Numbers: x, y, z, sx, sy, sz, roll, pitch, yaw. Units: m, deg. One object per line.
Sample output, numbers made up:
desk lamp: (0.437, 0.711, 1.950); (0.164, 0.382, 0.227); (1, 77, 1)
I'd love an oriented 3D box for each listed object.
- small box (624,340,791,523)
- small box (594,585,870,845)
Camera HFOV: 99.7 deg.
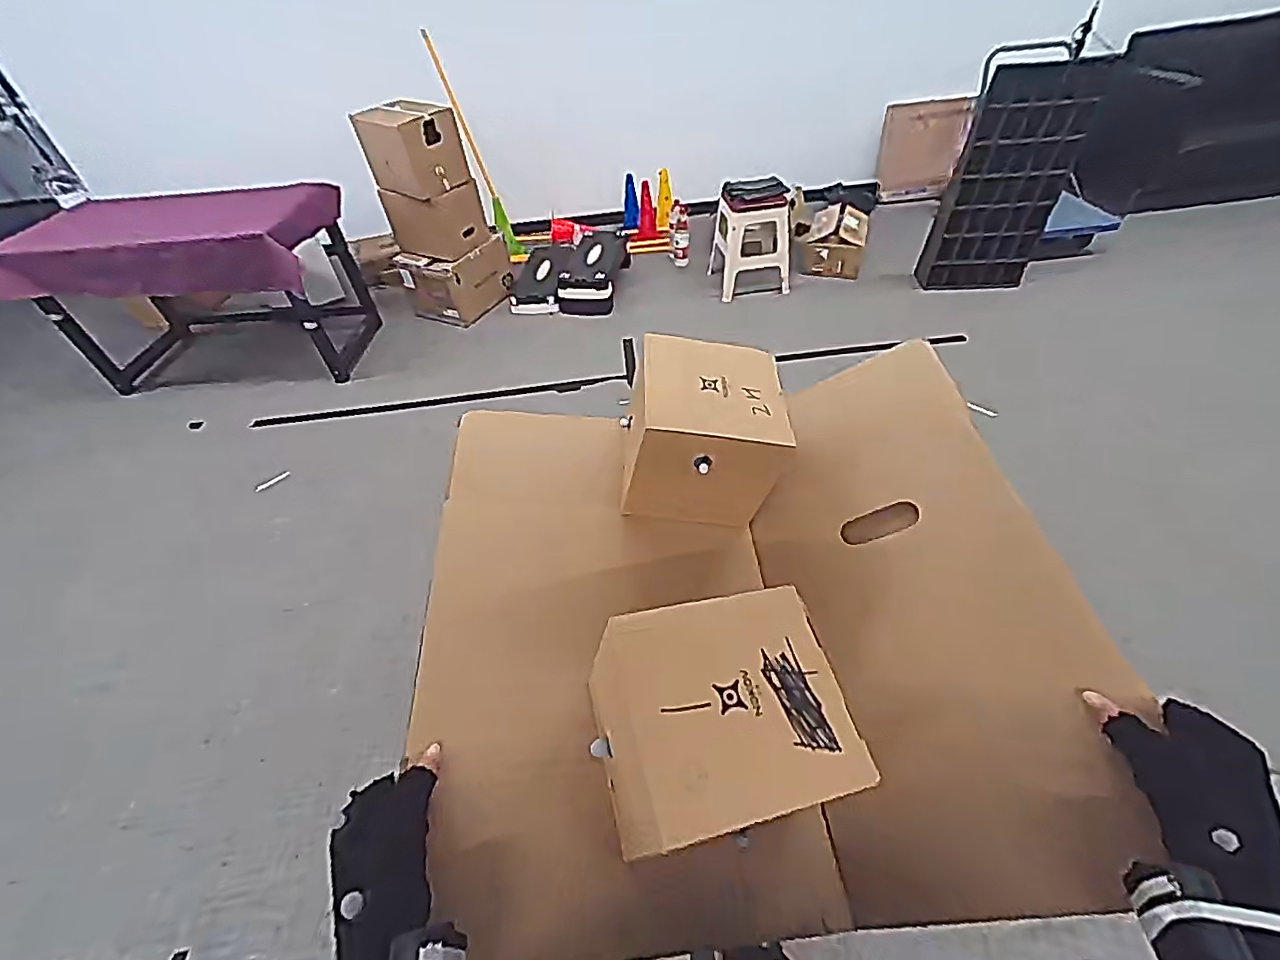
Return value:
small box: (0.075, -0.058, 0.717); (0.179, 0.176, 0.168); (7, 52, -8)
small box: (0.065, 0.217, 0.500); (0.179, 0.176, 0.168); (-6, 55, -17)
